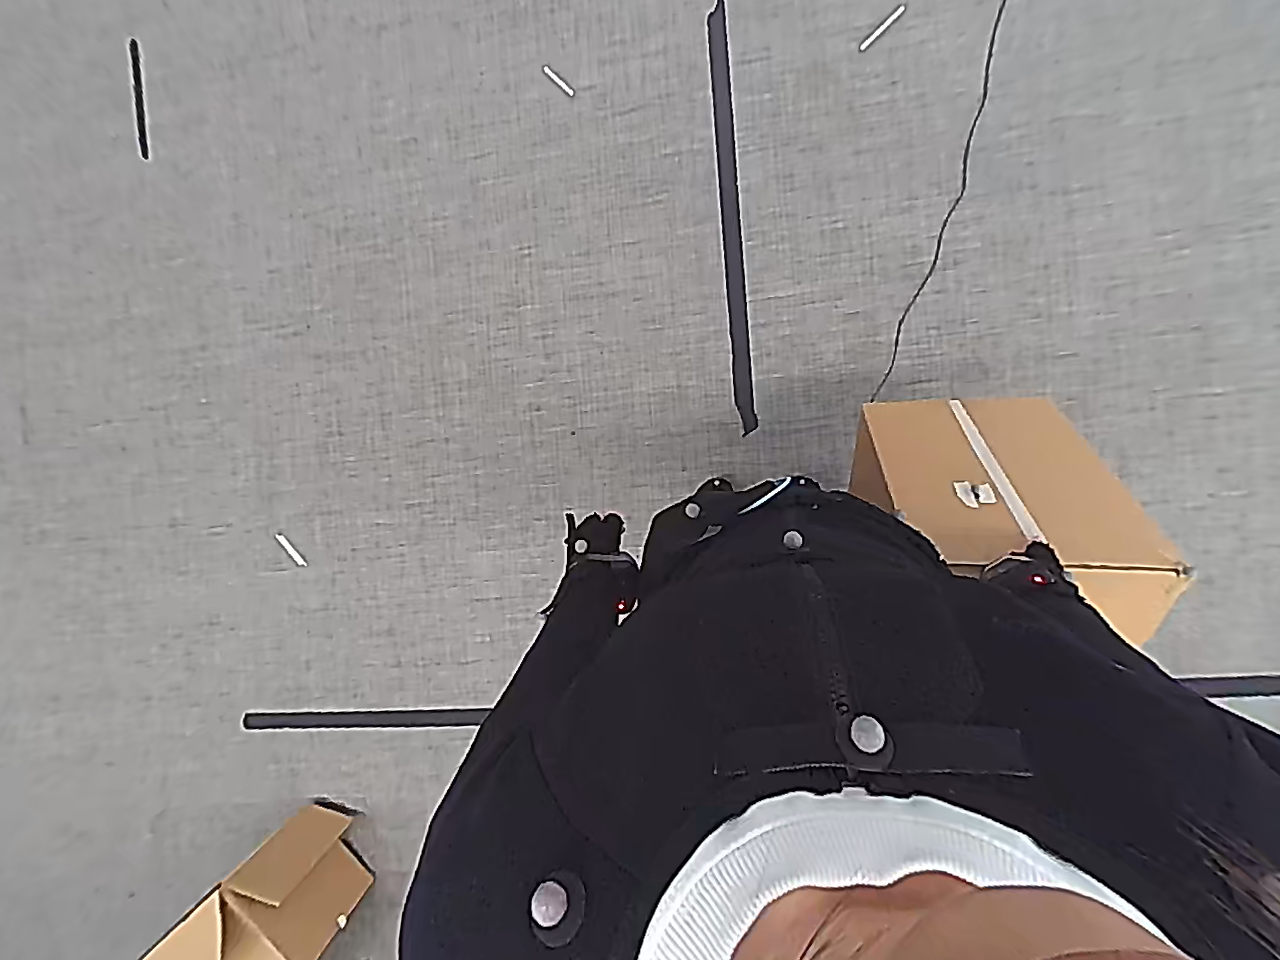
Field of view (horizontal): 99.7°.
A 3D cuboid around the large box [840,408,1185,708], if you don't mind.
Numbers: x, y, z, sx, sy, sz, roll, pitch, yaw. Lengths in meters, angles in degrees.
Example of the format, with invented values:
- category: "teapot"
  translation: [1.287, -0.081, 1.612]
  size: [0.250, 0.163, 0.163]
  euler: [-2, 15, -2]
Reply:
- category: "large box"
  translation: [0.547, 0.113, 0.918]
  size: [0.320, 0.408, 0.320]
  euler: [-1, 129, 11]
